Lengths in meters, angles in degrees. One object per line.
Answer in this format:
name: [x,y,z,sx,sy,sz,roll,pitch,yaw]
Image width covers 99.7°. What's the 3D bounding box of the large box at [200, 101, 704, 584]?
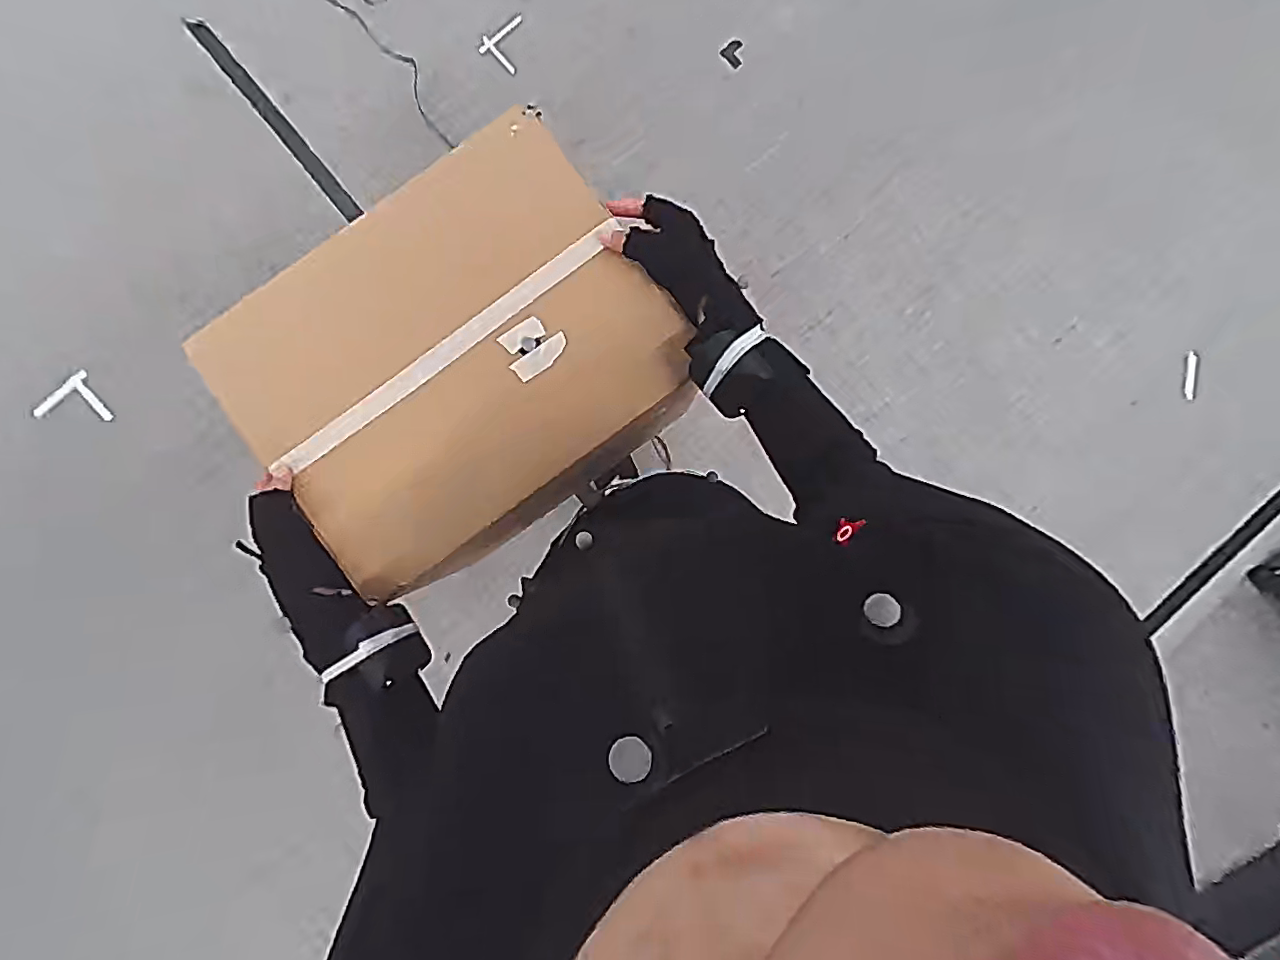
large box: [-0.185,-0.131,0.673,0.408,0.320,0.320,-36,90,-2]
